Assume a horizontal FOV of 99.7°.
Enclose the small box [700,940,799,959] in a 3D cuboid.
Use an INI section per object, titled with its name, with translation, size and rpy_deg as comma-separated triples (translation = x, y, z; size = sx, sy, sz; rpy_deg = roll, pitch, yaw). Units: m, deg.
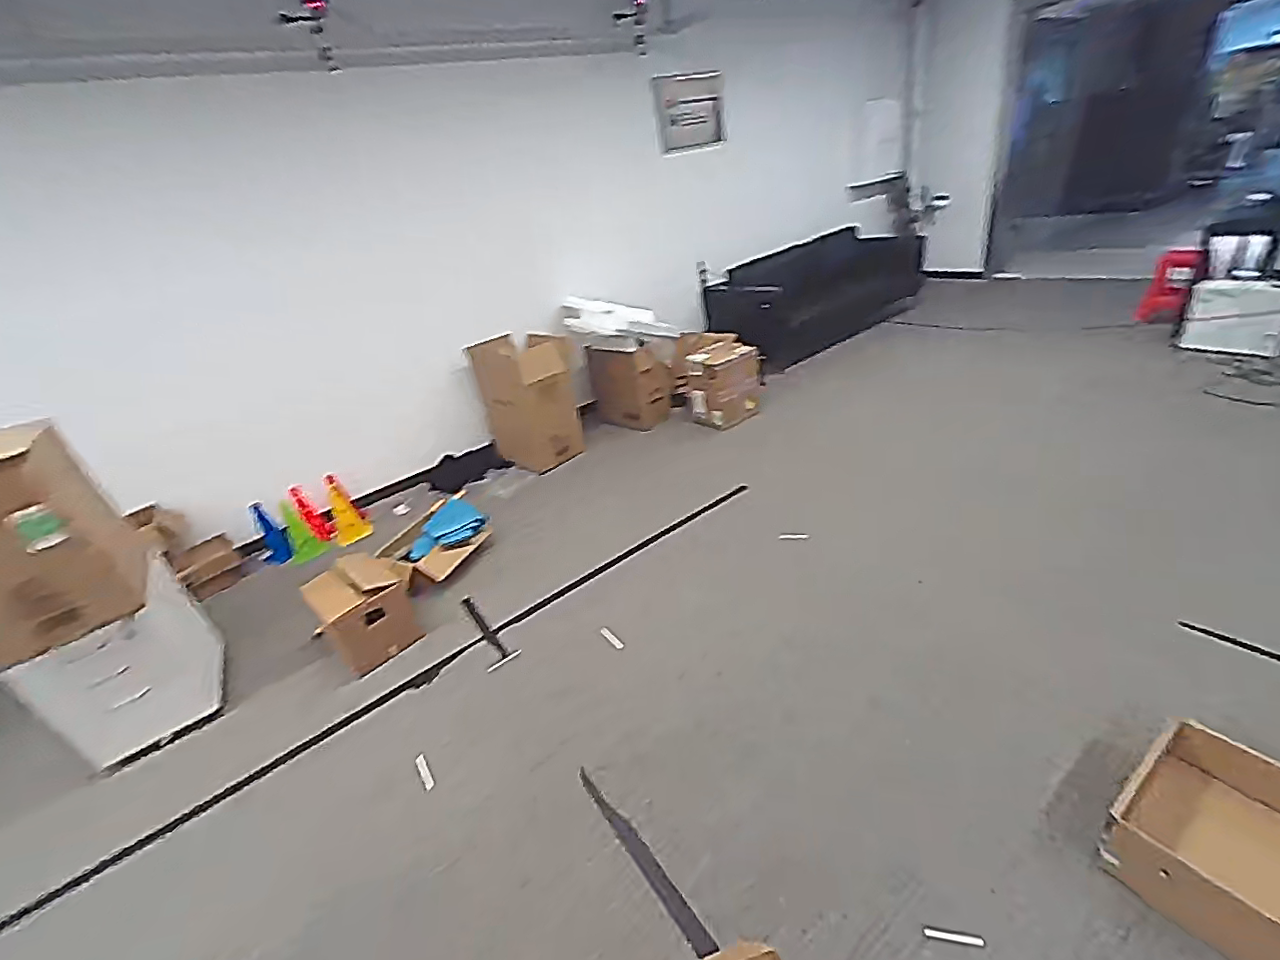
[small box]
translation = 0.046, 0.450, 0.372
size = 0.179, 0.176, 0.168
rpy_deg = -14, 50, -11
